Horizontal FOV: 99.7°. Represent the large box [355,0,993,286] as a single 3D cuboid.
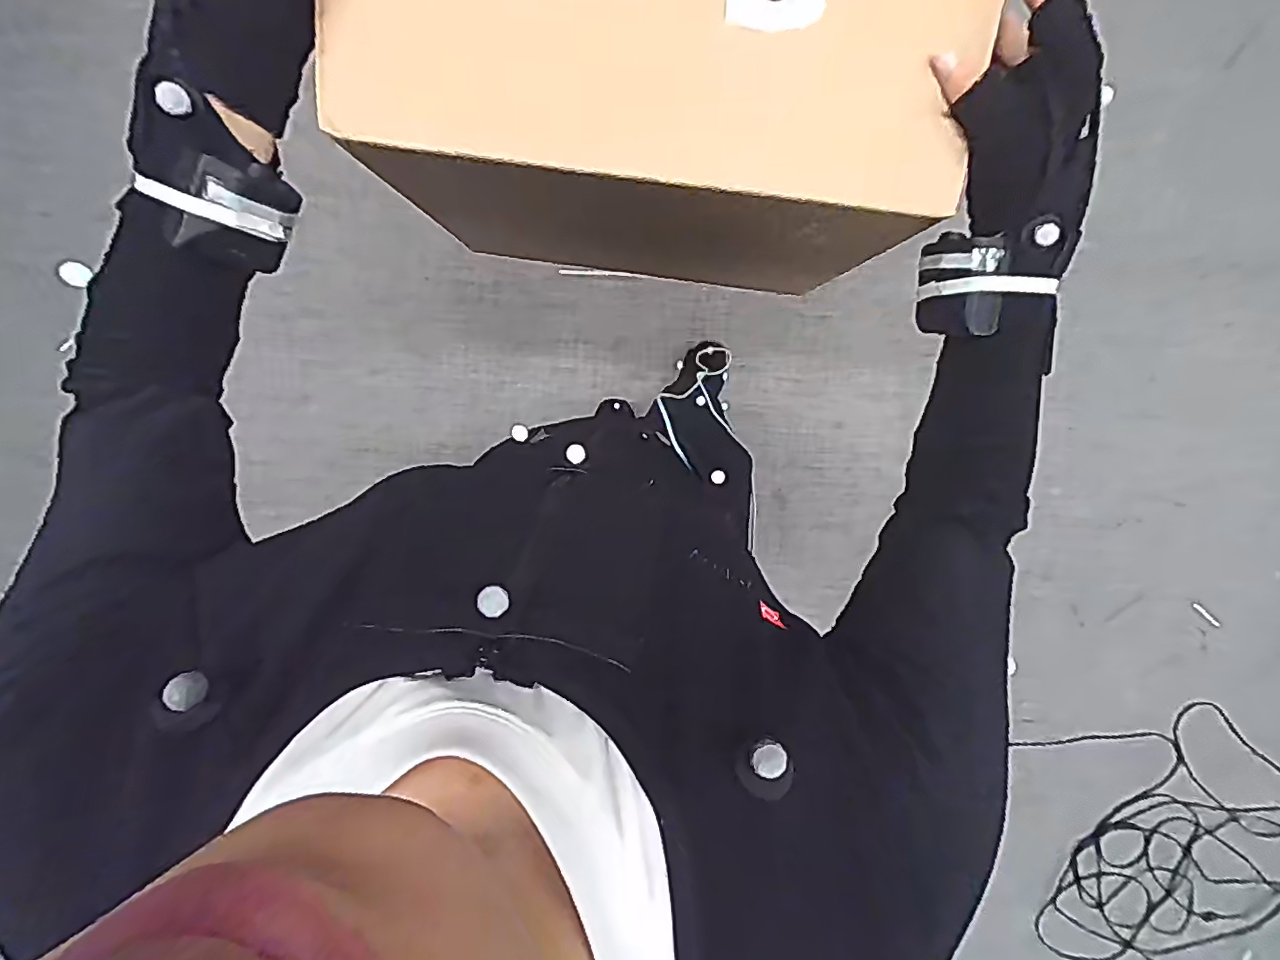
[{"bbox_3d":[0.024,-0.375,0.475,0.408,0.320,0.320,6,100,-3],"label":"large box"}]
